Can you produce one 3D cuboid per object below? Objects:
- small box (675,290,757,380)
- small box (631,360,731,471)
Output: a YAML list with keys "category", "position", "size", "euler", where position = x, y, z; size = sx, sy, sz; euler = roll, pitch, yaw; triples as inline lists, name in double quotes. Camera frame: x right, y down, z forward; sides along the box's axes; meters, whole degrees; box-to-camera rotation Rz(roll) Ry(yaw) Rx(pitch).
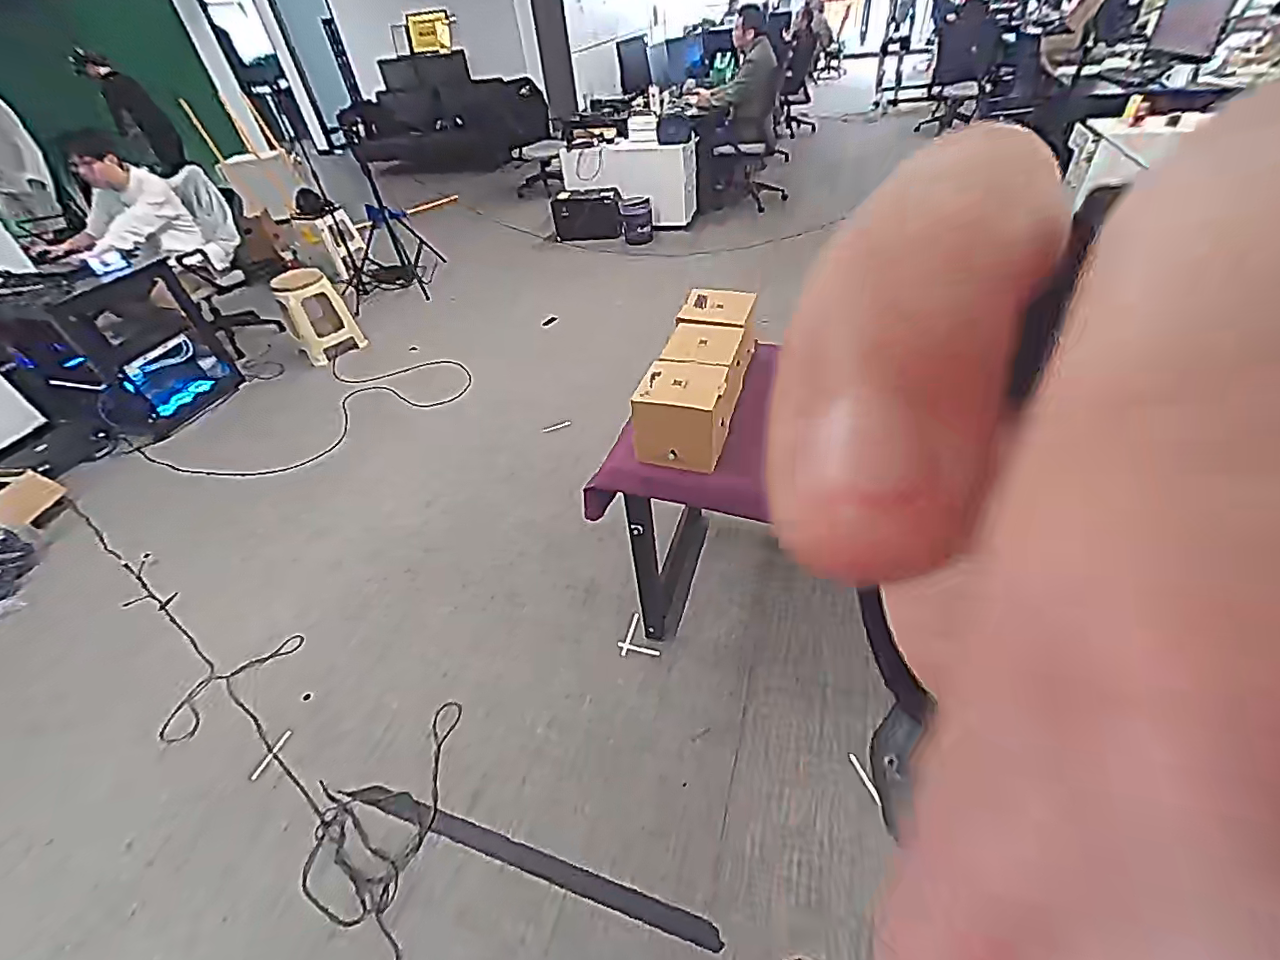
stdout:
- category: "small box"
  position: [0.203, -0.384, 1.436]
  size: [0.179, 0.176, 0.168]
  euler: [12, 47, 18]
- category: "small box"
  position: [0.093, -0.139, 1.186]
  size: [0.179, 0.176, 0.168]
  euler: [11, 44, 17]
